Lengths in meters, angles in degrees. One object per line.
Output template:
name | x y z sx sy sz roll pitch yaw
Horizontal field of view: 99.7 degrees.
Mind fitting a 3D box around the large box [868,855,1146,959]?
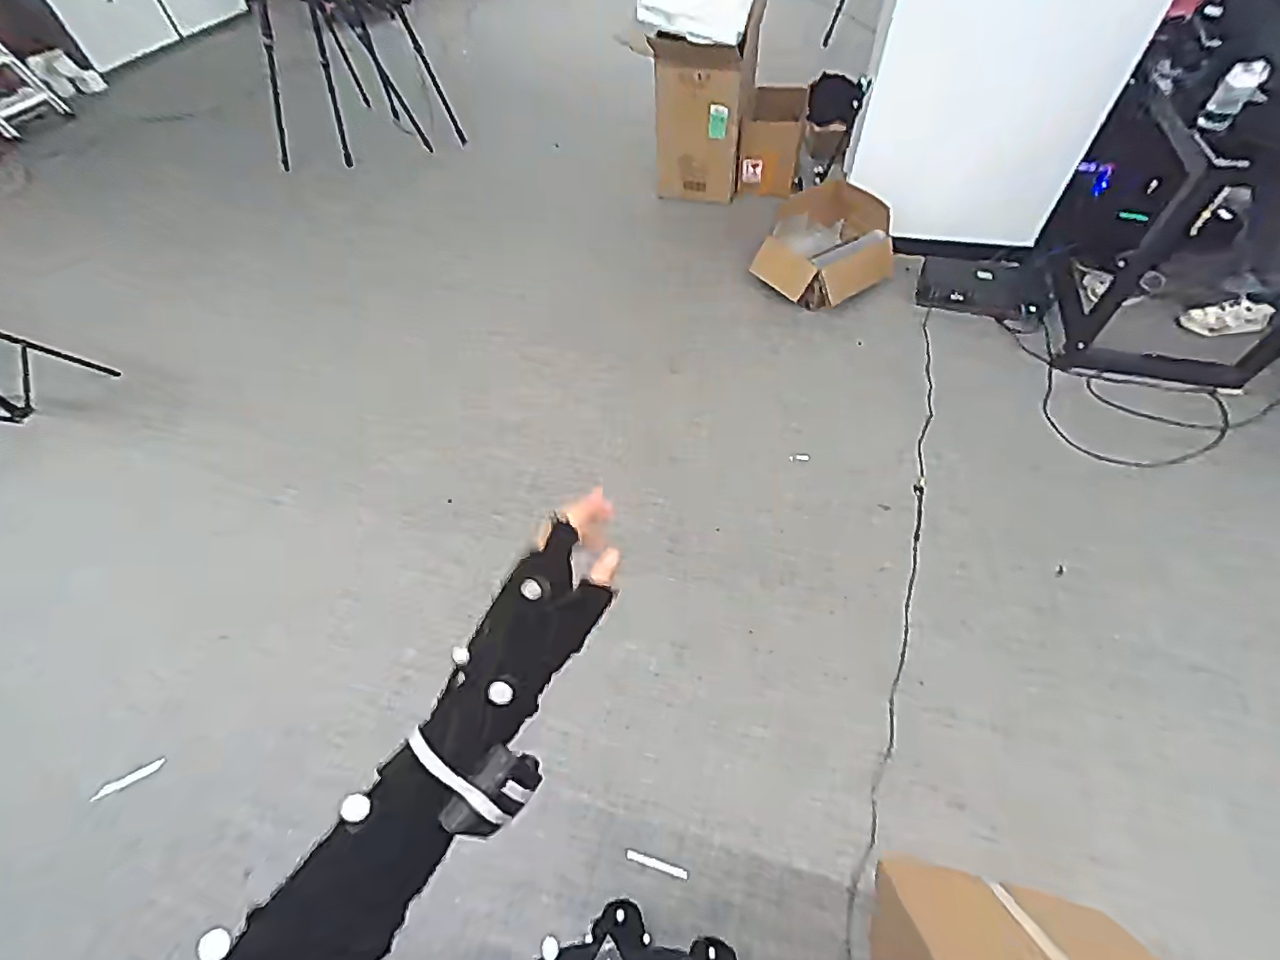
large box | 0.450 0.712 0.591 0.320 0.408 0.320 8 81 13
